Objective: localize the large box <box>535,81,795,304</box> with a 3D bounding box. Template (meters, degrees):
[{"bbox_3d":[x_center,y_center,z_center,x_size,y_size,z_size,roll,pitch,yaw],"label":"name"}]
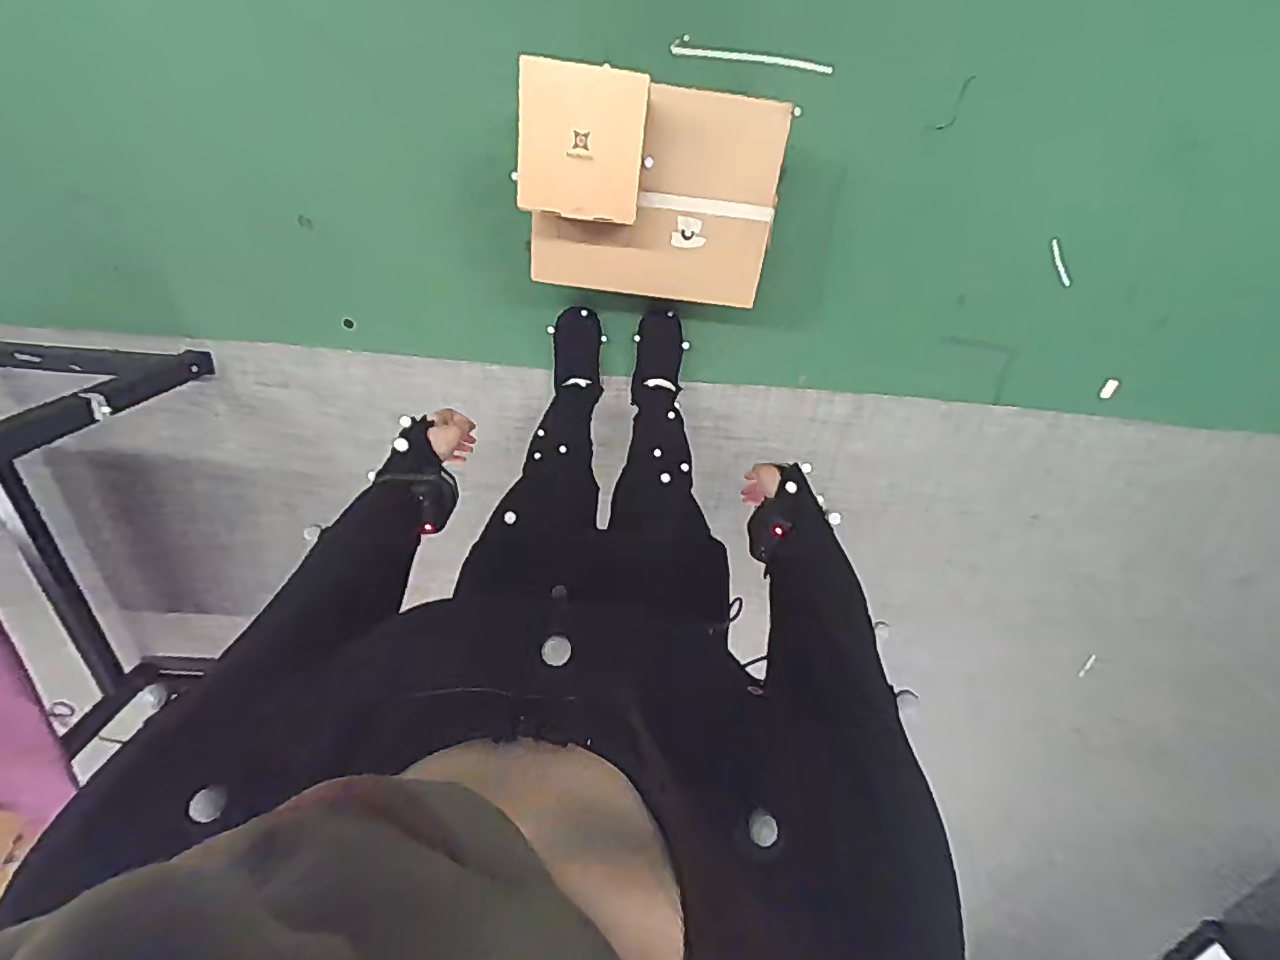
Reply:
[{"bbox_3d":[0.025,-0.534,1.017,0.408,0.320,0.320,6,119,-3],"label":"large box"}]

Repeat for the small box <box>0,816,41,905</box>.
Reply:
[{"bbox_3d":[-1.257,0.716,0.958,0.179,0.176,0.168,4,119,0],"label":"small box"}]

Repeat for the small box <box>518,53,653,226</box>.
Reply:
[{"bbox_3d":[-0.077,-0.473,0.774,0.168,0.176,0.179,6,118,-3],"label":"small box"}]
